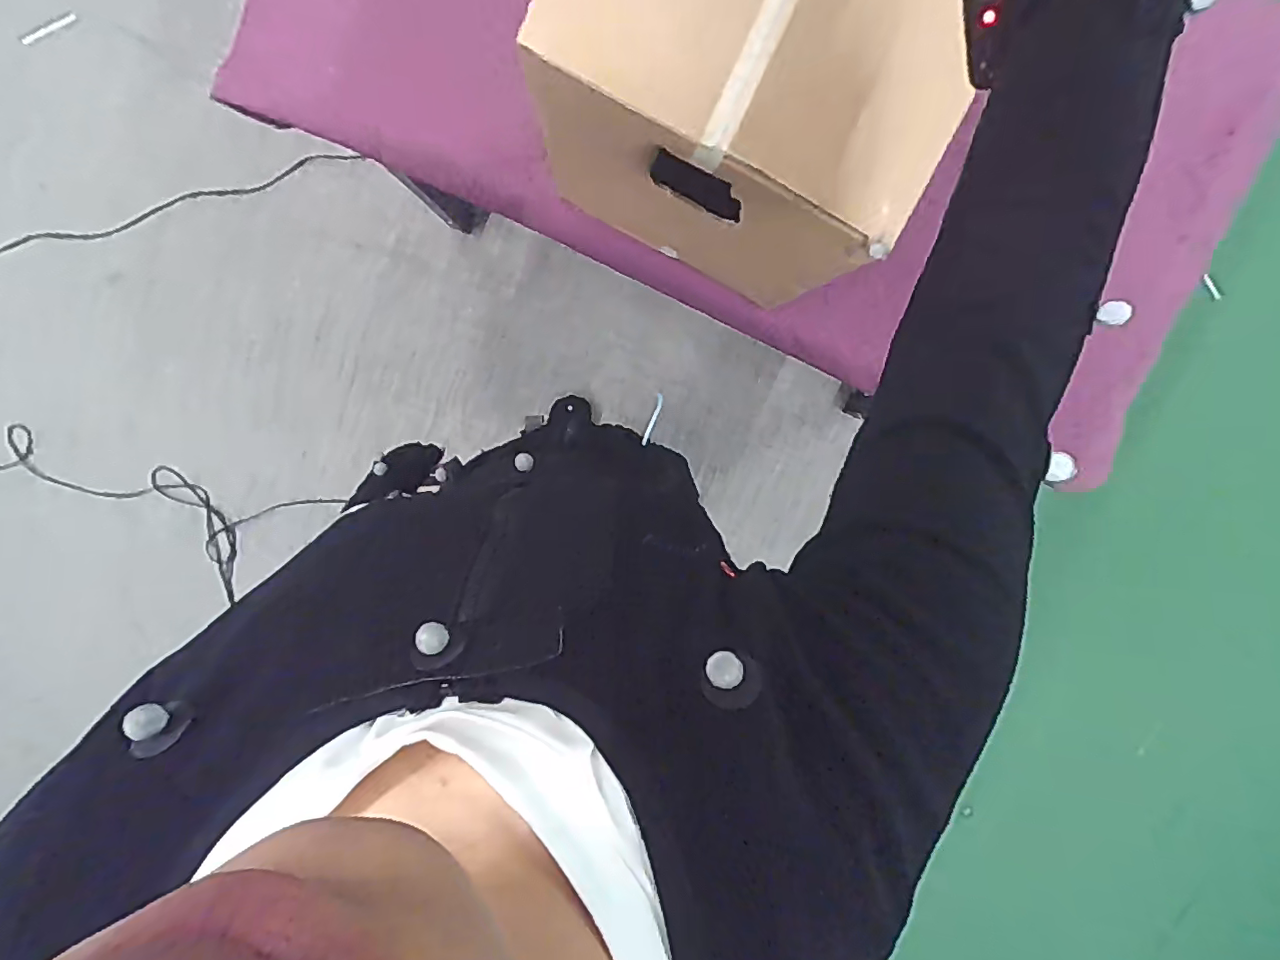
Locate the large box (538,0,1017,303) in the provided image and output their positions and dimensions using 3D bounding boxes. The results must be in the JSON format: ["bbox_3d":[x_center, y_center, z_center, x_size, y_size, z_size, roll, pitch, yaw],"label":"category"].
[{"bbox_3d":[0.136,-0.447,0.537,0.320,0.320,0.408,26,98,-6],"label":"large box"}]
